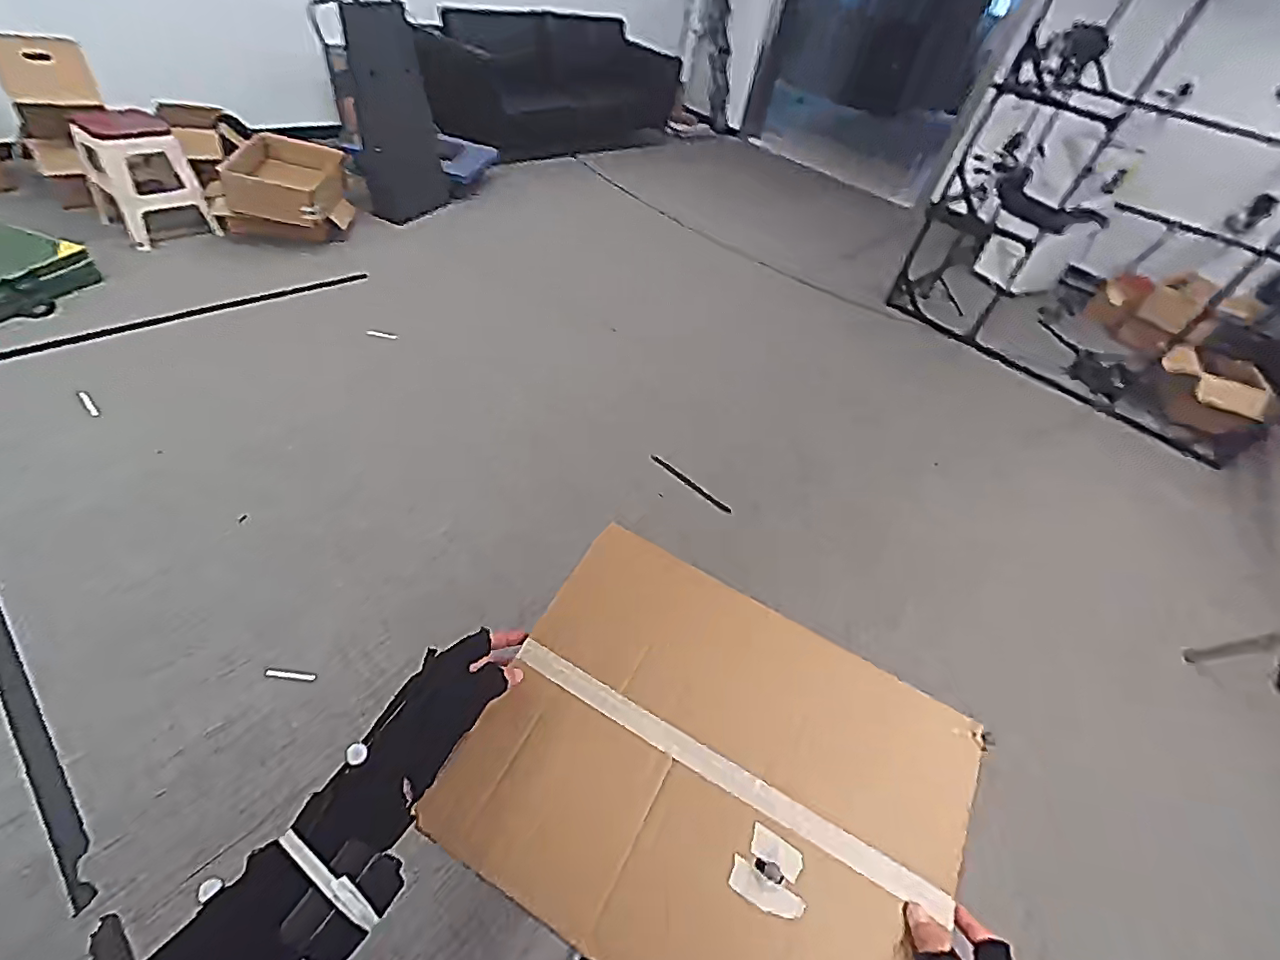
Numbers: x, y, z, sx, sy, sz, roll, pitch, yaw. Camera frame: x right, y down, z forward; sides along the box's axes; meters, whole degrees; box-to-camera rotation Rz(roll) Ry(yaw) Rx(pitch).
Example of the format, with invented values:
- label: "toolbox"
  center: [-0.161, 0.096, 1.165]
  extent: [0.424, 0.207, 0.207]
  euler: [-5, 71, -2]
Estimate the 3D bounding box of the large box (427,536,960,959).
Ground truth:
- label: "large box"
  center: [0.051, 0.334, 0.607]
  extent: [0.408, 0.320, 0.320]
  euler: [28, 59, 11]
